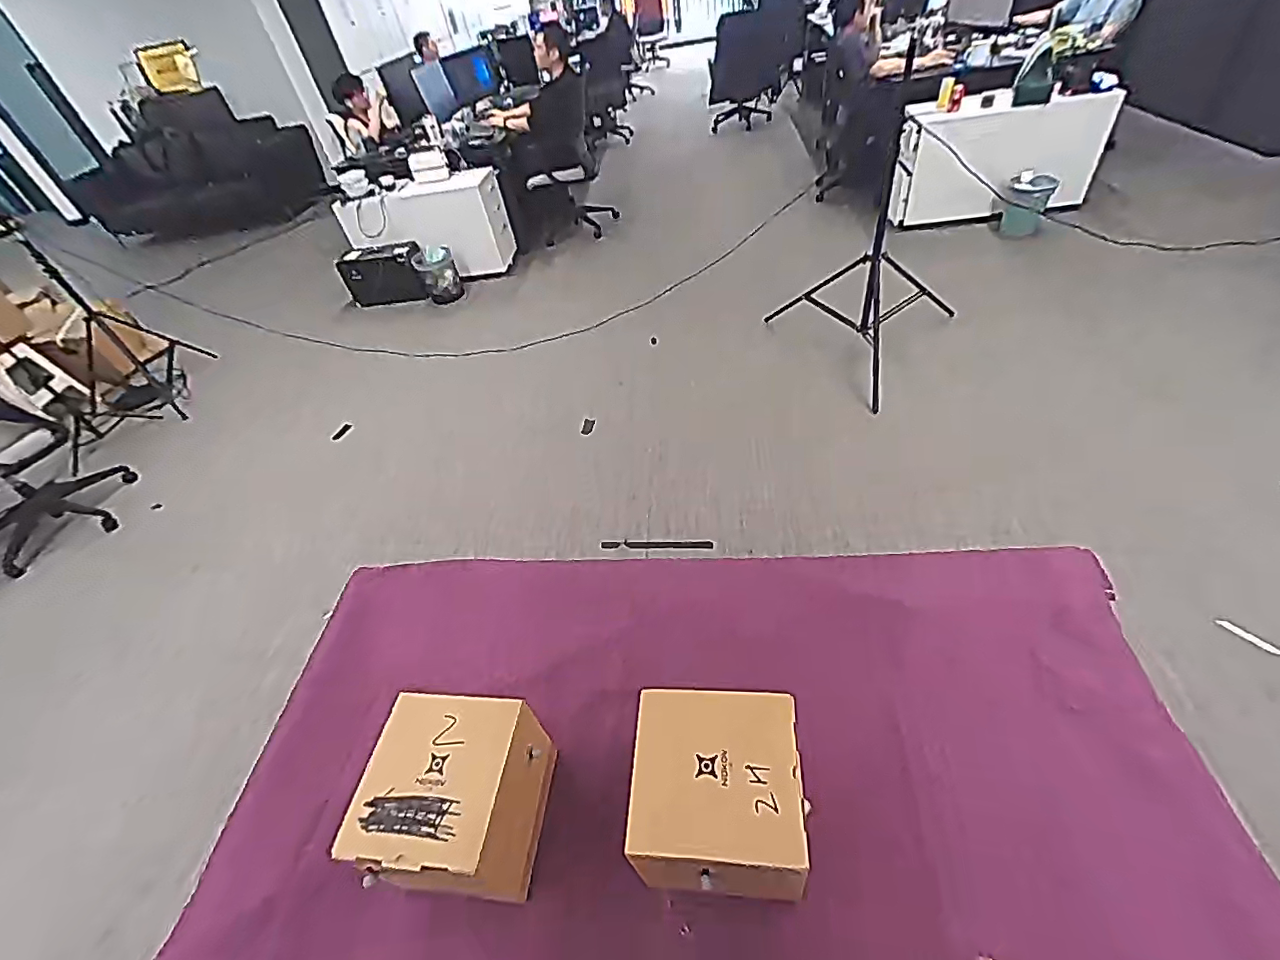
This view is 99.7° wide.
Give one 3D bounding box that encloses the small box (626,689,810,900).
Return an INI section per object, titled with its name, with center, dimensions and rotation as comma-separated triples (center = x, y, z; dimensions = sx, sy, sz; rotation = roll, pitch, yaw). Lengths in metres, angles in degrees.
[small box]
center = 0.092, 0.357, 0.616
dimensions = 0.179, 0.176, 0.168
rotation = -1, 45, 10
